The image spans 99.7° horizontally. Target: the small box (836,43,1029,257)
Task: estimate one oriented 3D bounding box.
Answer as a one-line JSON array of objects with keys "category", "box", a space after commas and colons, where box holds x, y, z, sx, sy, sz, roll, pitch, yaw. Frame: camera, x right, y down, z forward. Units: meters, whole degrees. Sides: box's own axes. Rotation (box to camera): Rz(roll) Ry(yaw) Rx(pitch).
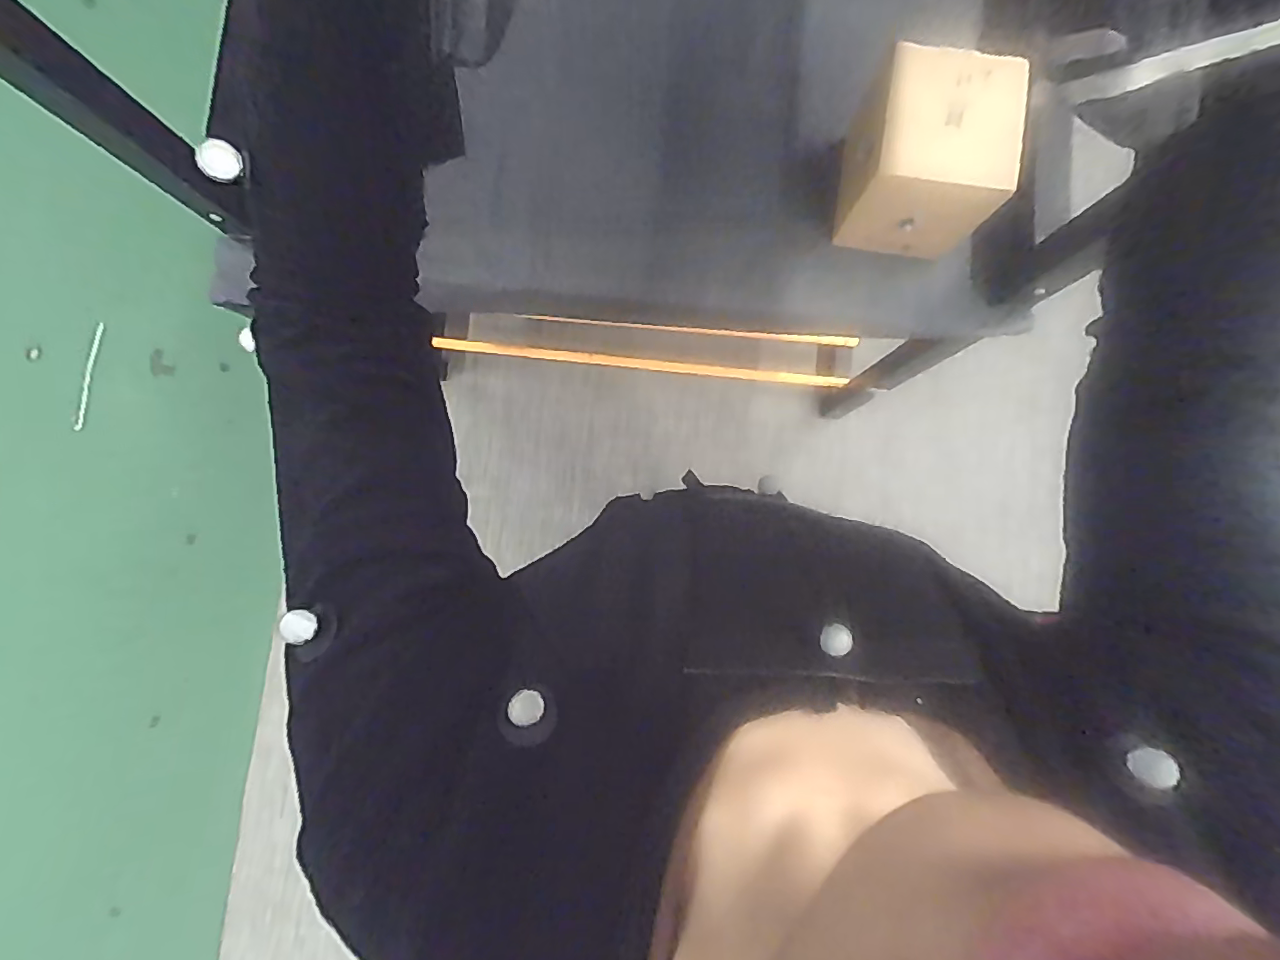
[{"category": "small box", "box": [0.379, -0.428, 0.730, 0.168, 0.176, 0.179, 9, 84, 1]}]
